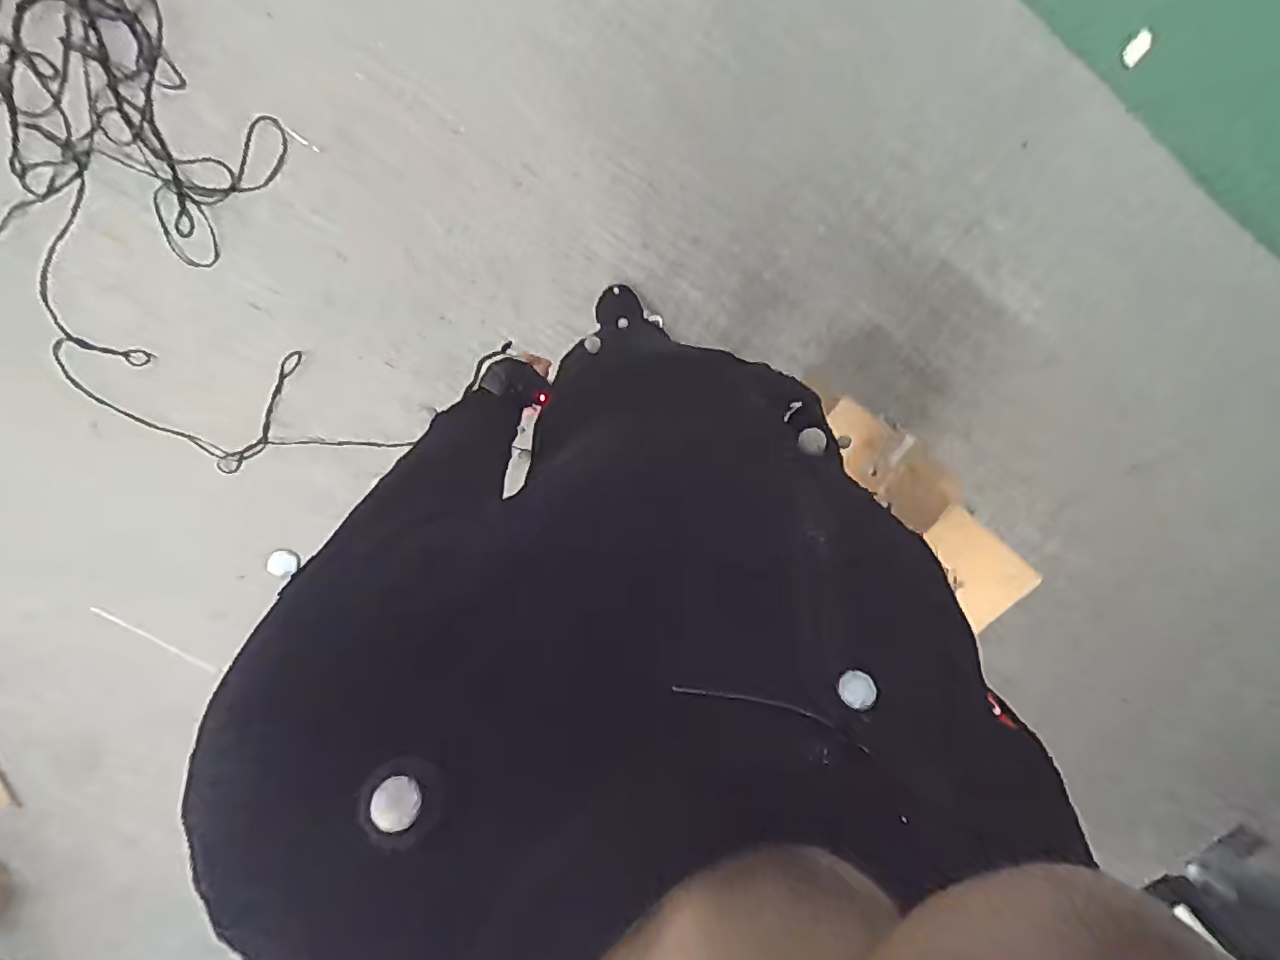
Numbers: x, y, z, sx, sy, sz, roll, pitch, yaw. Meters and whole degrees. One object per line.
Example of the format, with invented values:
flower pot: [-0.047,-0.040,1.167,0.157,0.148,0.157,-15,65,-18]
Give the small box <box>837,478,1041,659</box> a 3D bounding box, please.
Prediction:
small box: [0.433,0.123,0.814,0.179,0.176,0.168,39,107,-9]
